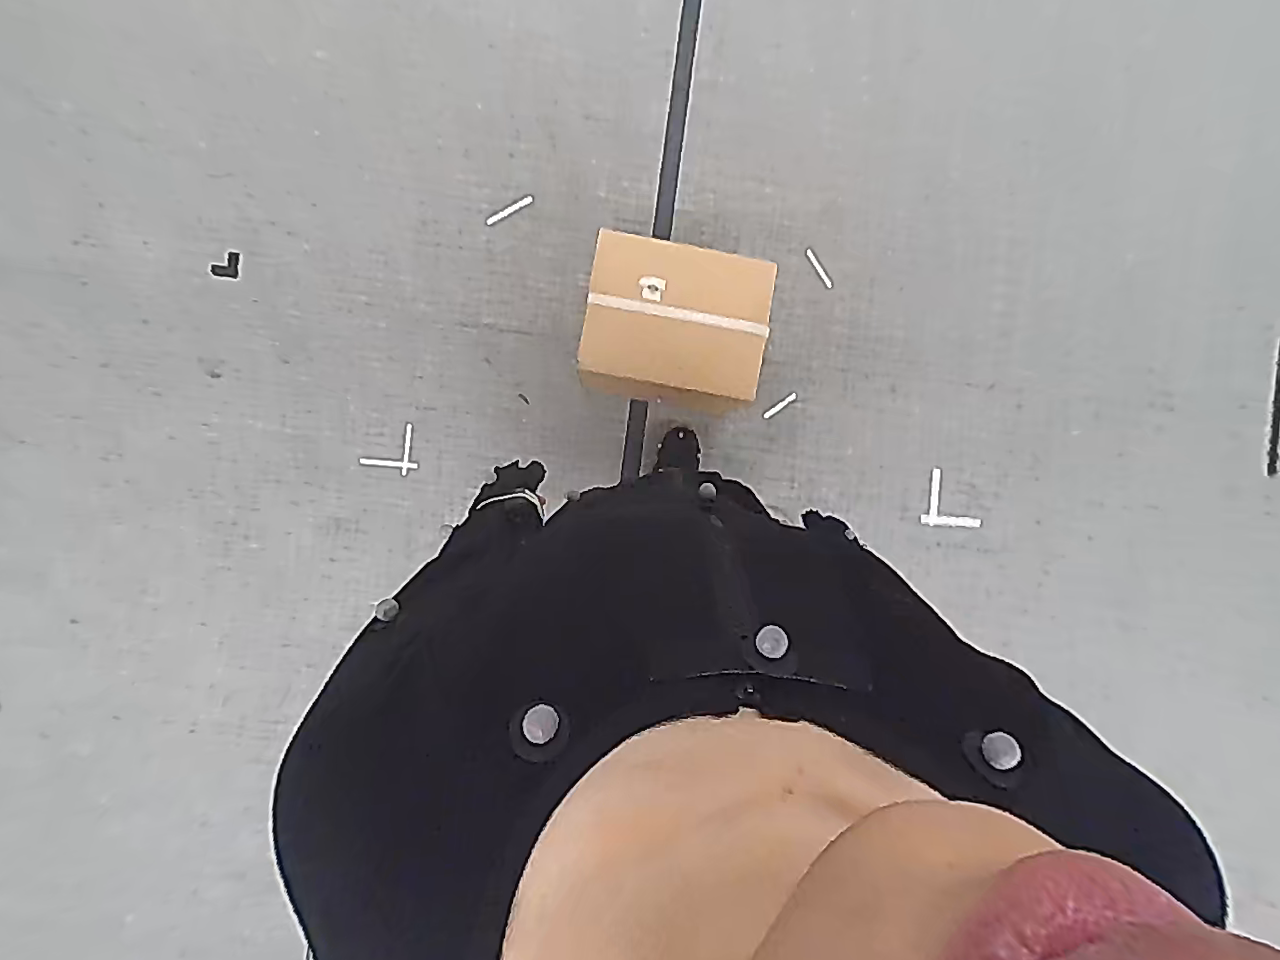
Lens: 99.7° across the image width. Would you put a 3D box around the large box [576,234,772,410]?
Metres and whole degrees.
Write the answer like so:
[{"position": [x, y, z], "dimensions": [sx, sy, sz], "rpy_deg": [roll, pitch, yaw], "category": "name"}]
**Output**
[{"position": [0.074, -0.365, 1.344], "dimensions": [0.408, 0.320, 0.320], "rpy_deg": [10, 90, -2], "category": "large box"}]
